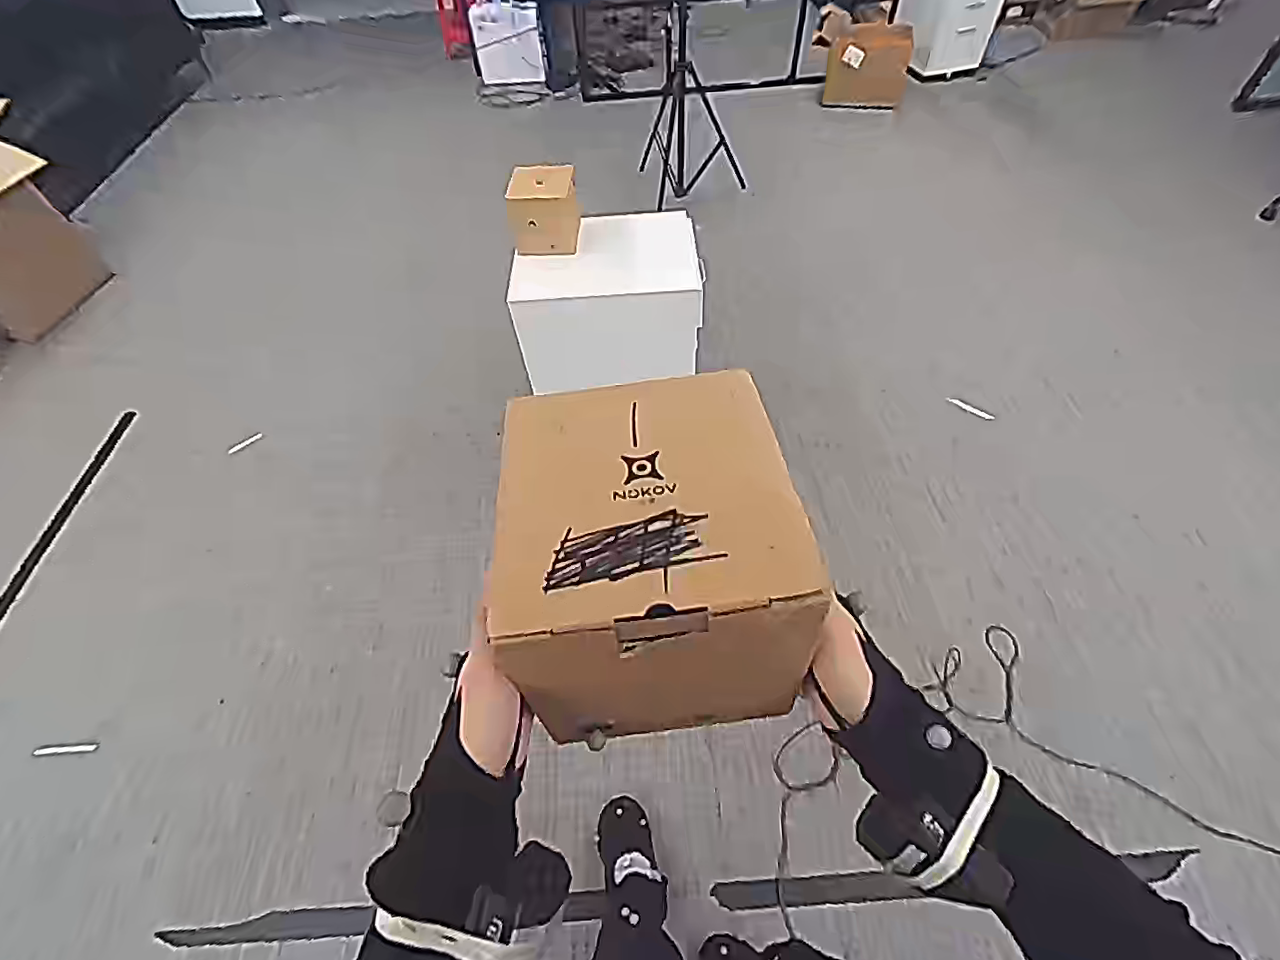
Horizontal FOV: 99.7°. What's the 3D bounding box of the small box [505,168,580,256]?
[{"bbox_3d":[-0.265,-0.747,1.518,0.168,0.176,0.179,0,54,2],"label":"small box"}]
